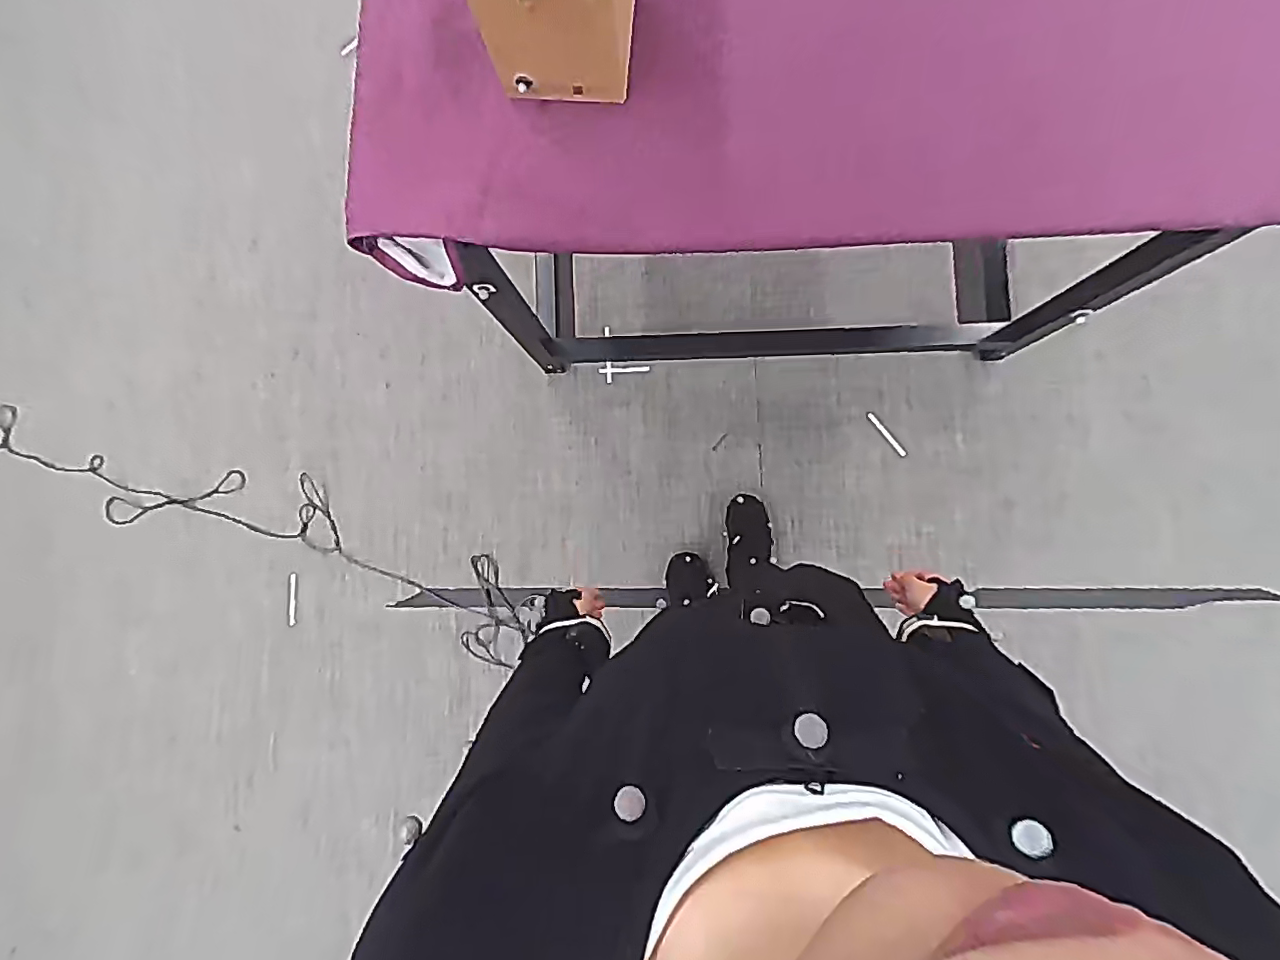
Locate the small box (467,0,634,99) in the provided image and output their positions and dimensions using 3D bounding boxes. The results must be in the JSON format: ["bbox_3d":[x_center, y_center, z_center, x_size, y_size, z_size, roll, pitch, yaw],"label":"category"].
[{"bbox_3d":[-0.099,-0.604,0.656,0.168,0.176,0.179,5,86,4],"label":"small box"}]
